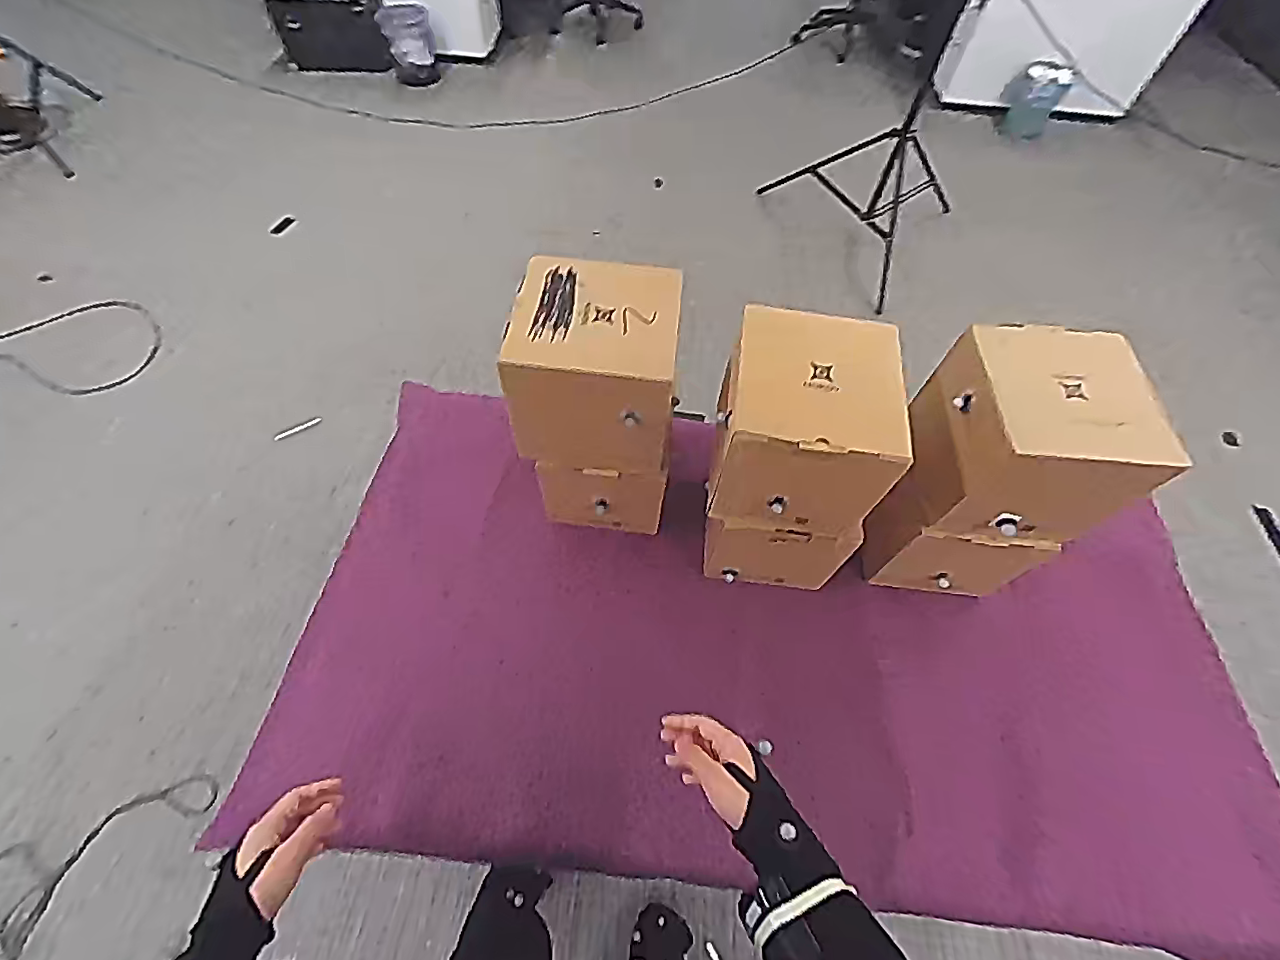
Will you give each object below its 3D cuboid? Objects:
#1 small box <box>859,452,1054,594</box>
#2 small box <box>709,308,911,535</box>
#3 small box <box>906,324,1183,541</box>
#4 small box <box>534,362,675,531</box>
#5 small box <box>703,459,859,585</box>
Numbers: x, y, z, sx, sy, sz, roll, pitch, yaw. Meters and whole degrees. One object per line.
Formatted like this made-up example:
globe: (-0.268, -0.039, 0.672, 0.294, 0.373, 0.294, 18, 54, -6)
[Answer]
small box: (0.413, 0.040, 0.749, 0.168, 0.176, 0.179, 6, 59, 2)
small box: (0.175, -0.060, 0.607, 0.168, 0.176, 0.179, 9, 60, 2)
small box: (0.426, -0.049, 0.613, 0.168, 0.176, 0.179, 4, 59, 0)
small box: (-0.044, -0.041, 0.774, 0.168, 0.176, 0.179, 7, 60, 1)
small box: (0.181, 0.031, 0.742, 0.168, 0.176, 0.179, 6, 58, 1)
